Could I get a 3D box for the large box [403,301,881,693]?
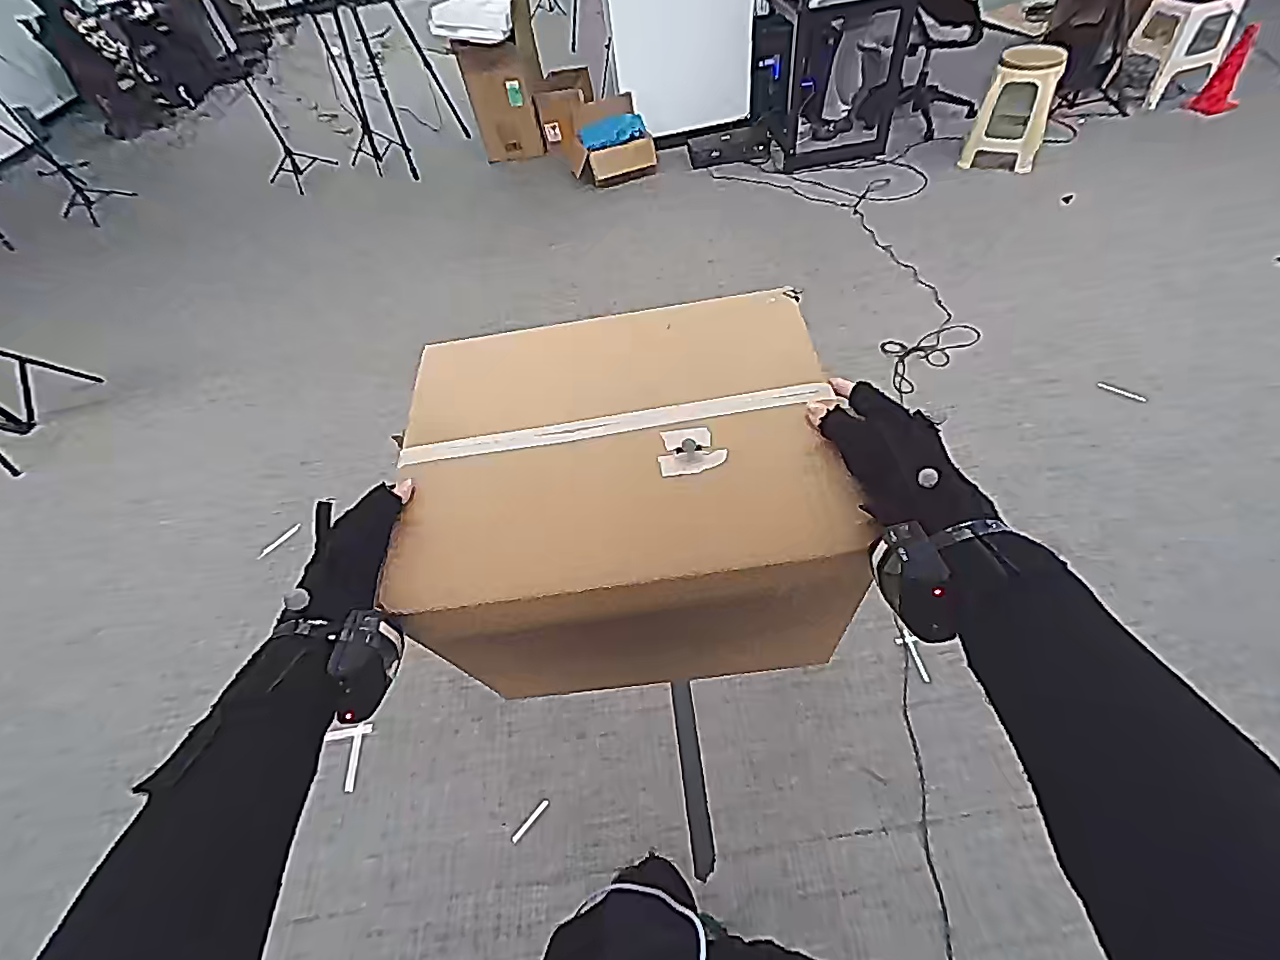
[{"bbox_3d":[0.000,0.037,0.642,0.408,0.320,0.320,-8,56,3],"label":"large box"}]
